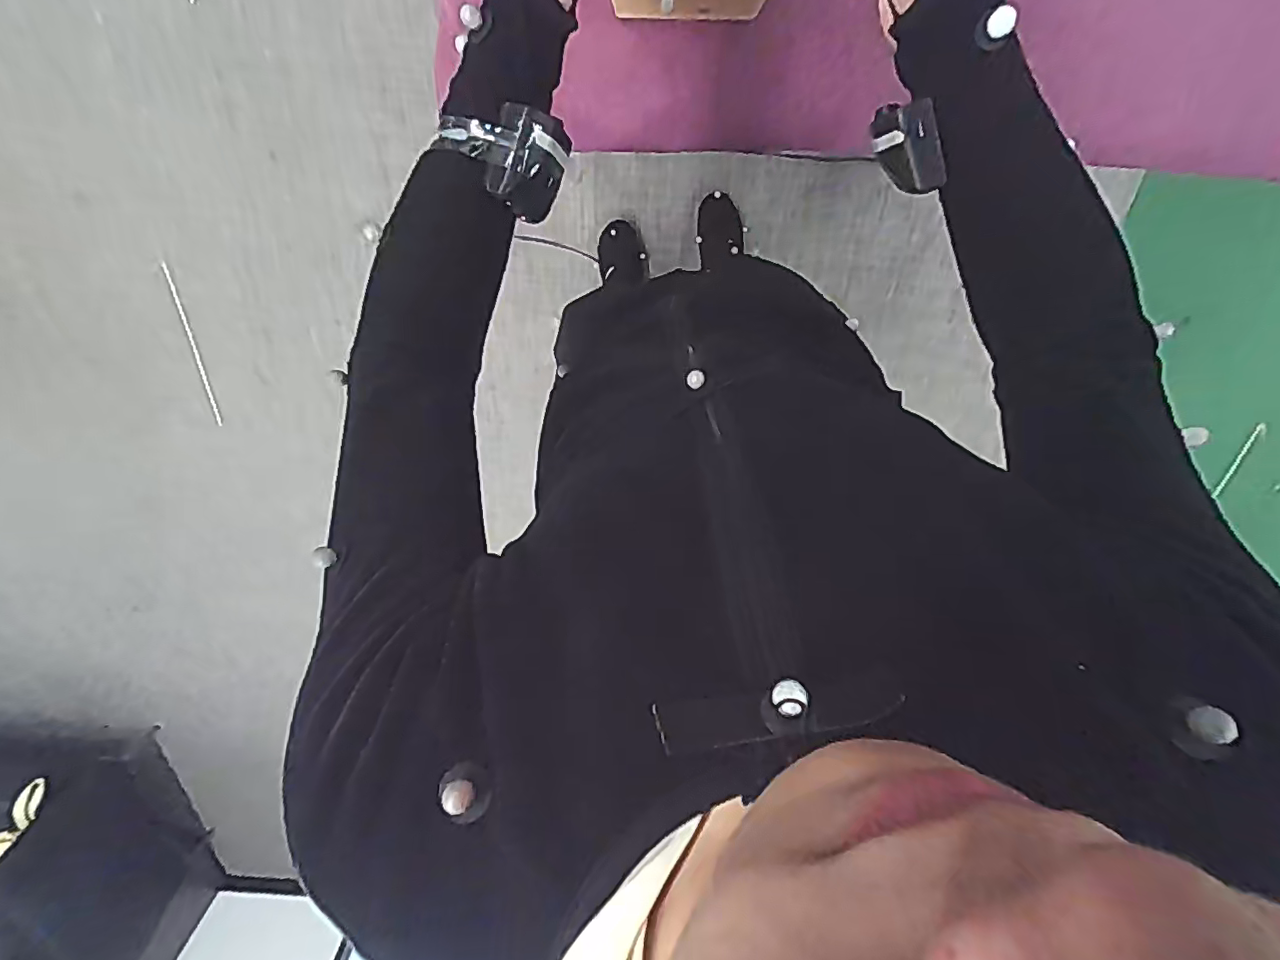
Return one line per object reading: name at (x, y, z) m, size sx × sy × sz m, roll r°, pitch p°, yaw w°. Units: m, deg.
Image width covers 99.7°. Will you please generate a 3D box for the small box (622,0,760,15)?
small box at (0.055, -0.582, 0.524) m, size 0.168 × 0.176 × 0.179 m, roll 2°, pitch 118°, yaw 2°
